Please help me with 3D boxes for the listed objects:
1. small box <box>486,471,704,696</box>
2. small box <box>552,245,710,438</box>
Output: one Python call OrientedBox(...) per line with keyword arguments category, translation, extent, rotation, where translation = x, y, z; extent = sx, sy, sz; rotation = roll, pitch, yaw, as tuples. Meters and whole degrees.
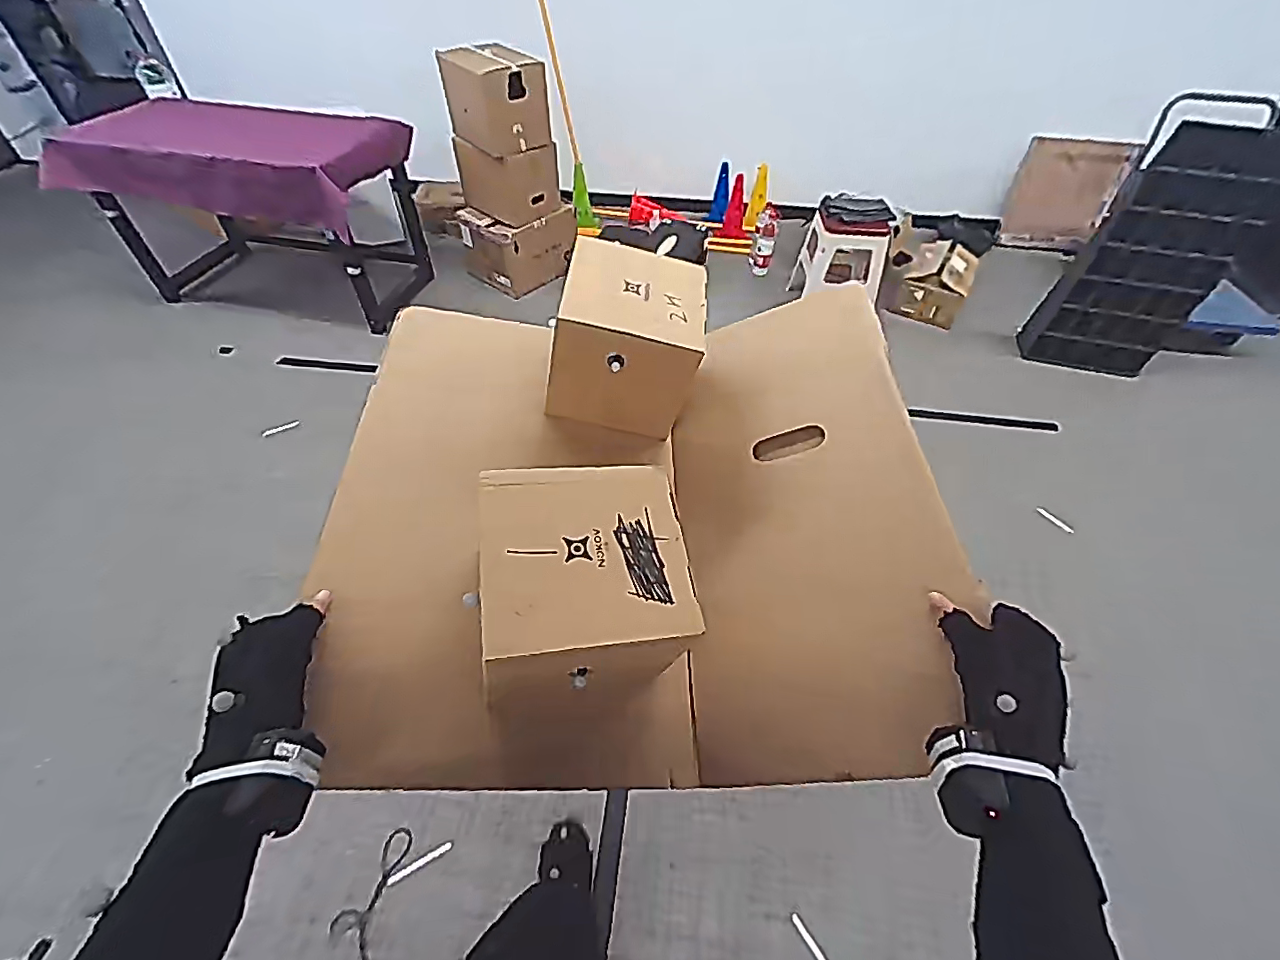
OrientedBox(category="small box", translation=(-0.059, 0.104, 0.534), extent=(0.179, 0.176, 0.168), rotation=(-2, 58, -16))
OrientedBox(category="small box", translation=(-0.016, -0.179, 0.733), extent=(0.179, 0.176, 0.168), rotation=(13, 55, -8))
